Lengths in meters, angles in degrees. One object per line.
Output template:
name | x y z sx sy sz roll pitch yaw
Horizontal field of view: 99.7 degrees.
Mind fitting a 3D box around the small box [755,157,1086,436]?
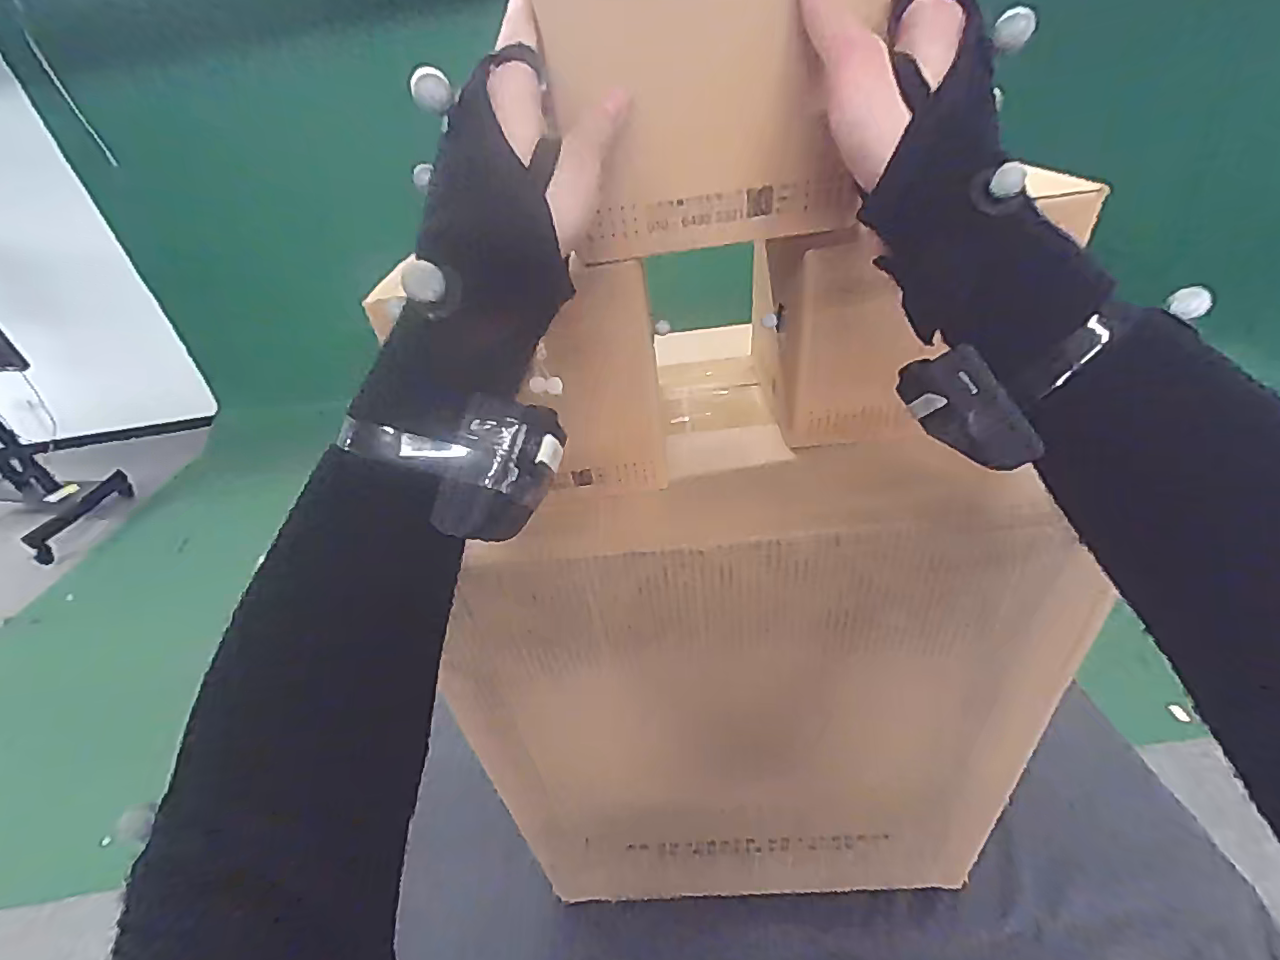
small box | 0.192 -0.148 0.439 0.179 0.176 0.168 -5 38 2

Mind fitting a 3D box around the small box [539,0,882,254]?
small box | 0.028 -0.250 0.333 0.168 0.176 0.179 -9 37 -2

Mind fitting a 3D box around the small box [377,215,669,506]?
small box | -0.069 -0.101 0.432 0.168 0.176 0.179 -7 37 4
